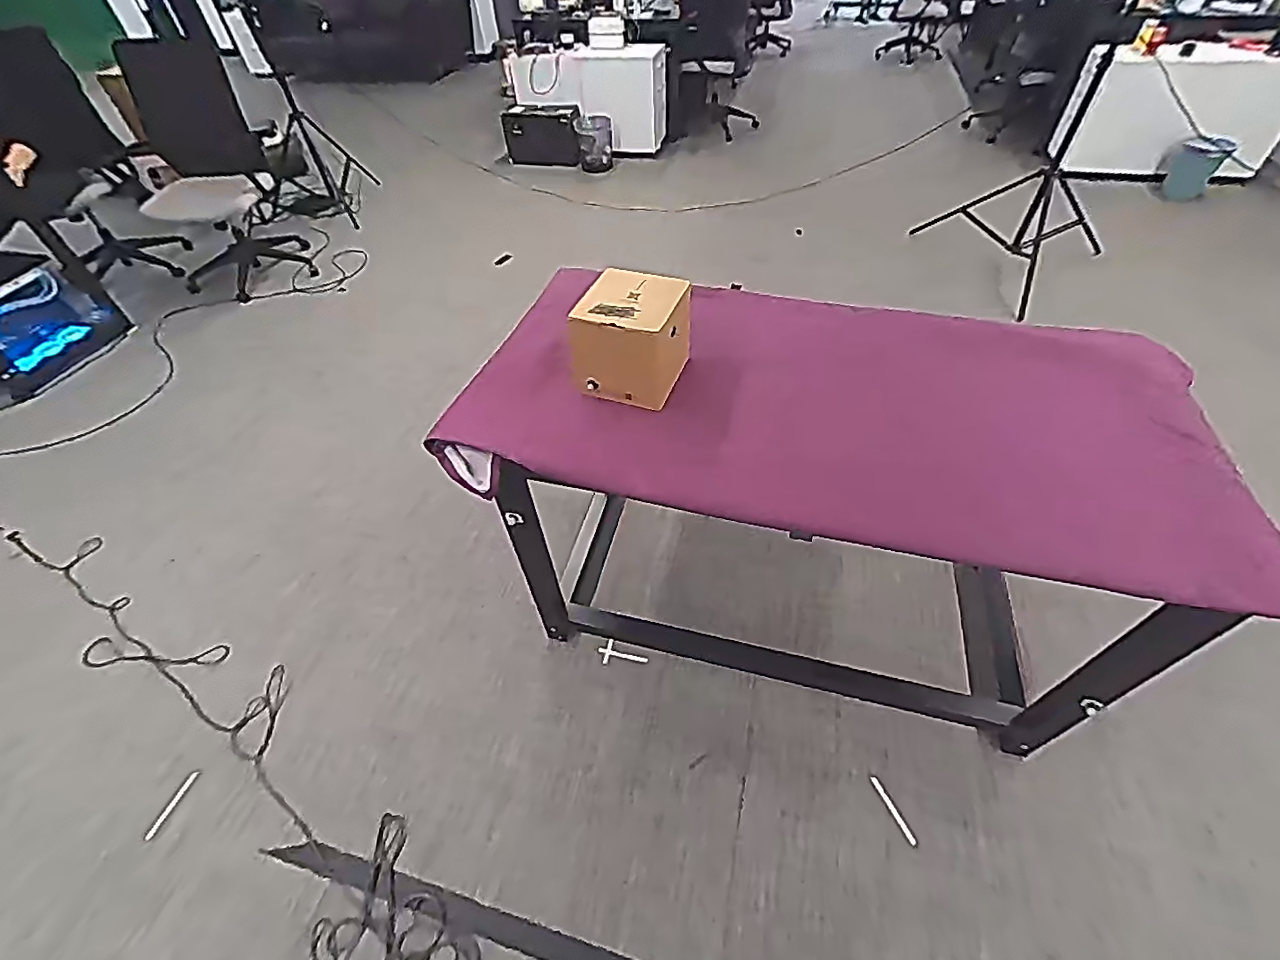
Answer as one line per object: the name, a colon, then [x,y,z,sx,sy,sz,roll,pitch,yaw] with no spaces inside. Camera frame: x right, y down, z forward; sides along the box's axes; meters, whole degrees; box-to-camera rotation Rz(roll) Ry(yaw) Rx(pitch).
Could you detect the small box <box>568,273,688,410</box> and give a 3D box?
small box: [-0.013,-0.255,0.999,0.168,0.176,0.179,15,51,15]
